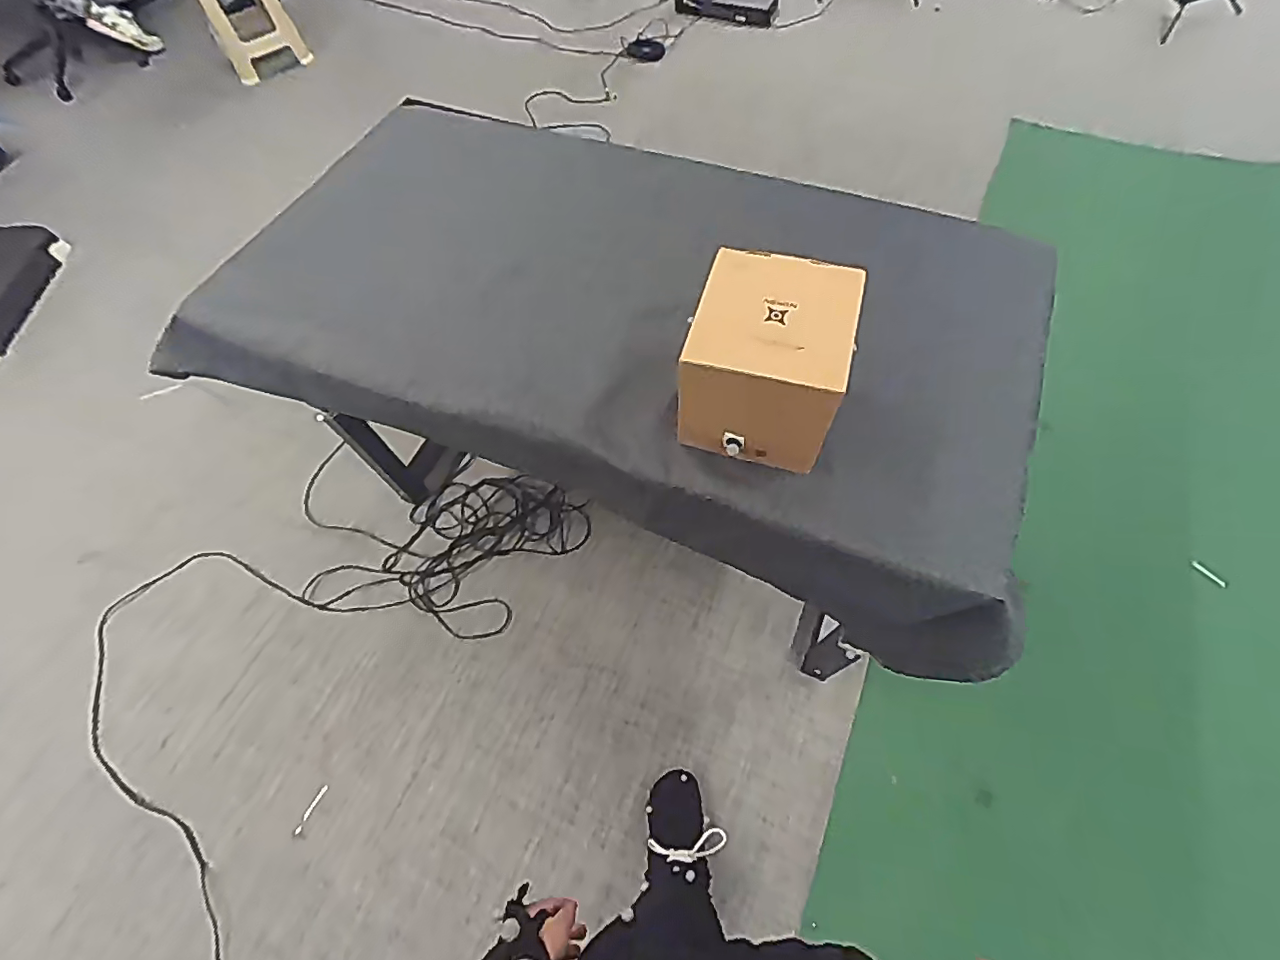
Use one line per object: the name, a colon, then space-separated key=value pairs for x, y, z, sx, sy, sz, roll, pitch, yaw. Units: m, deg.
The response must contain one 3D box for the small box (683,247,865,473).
small box: x=0.147 y=-0.135 z=0.633 sx=0.168 sy=0.176 sz=0.179 roll=13 pitch=64 yaw=11
